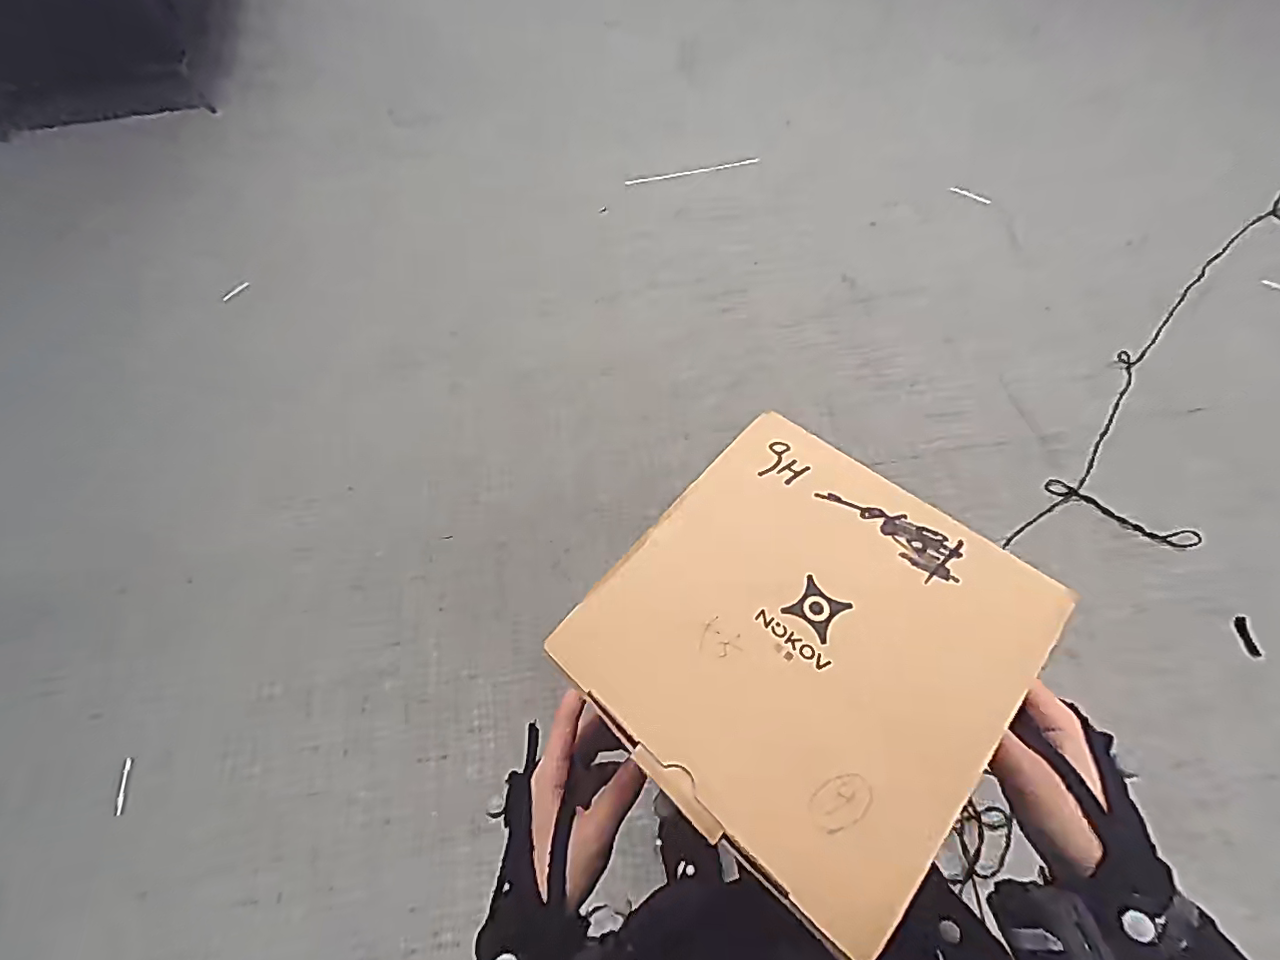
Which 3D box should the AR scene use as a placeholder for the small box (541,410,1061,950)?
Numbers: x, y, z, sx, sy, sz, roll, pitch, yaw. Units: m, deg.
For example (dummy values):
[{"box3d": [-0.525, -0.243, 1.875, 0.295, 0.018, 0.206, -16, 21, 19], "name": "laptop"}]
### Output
[{"box3d": [0.078, 0.101, 0.311, 0.168, 0.176, 0.179, 37, 71, 24], "name": "small box"}]
